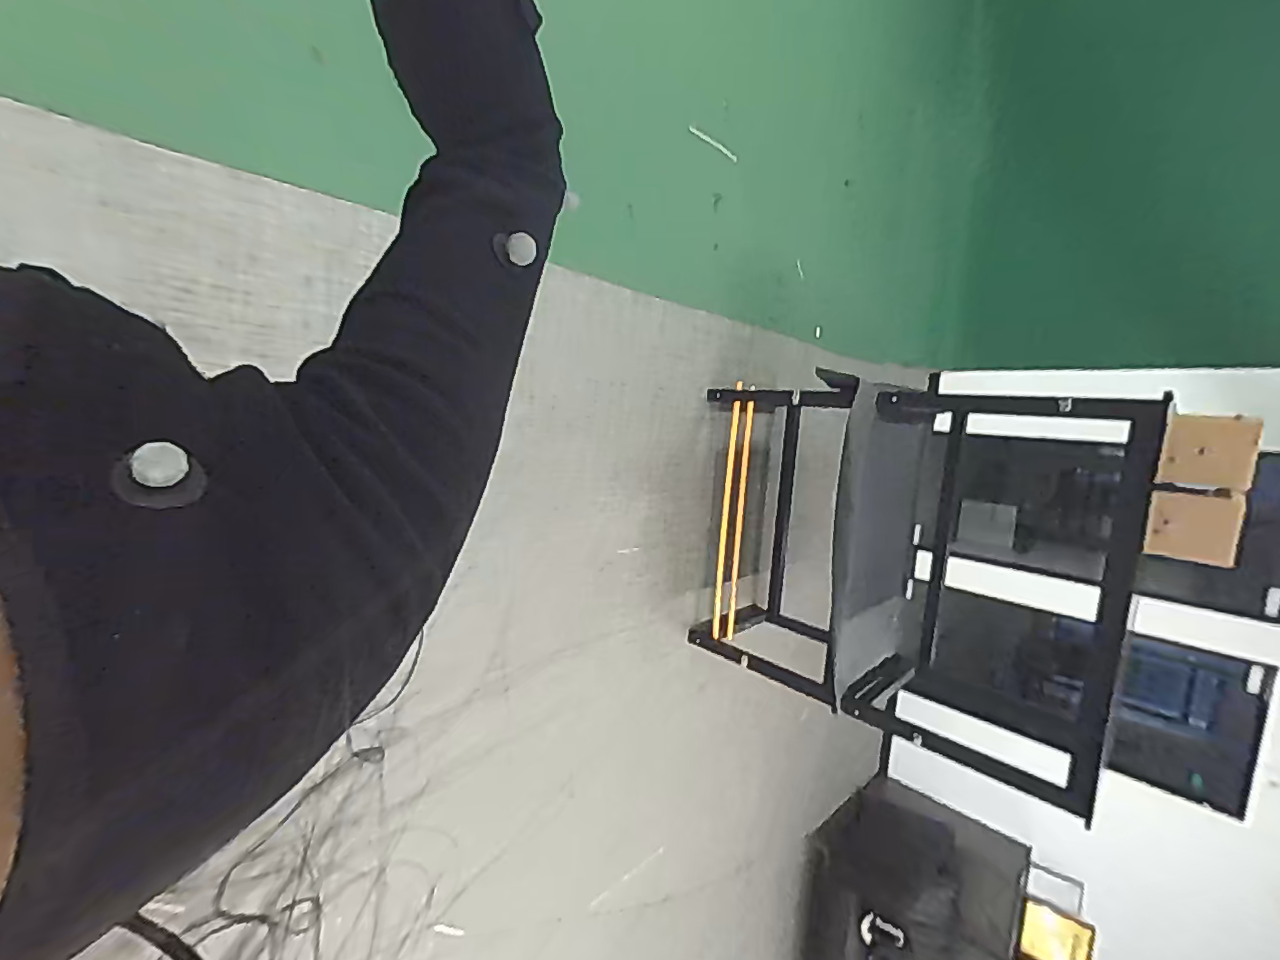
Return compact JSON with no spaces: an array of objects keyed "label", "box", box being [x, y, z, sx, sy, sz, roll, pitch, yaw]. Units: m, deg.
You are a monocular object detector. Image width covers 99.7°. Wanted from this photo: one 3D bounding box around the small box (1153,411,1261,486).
[{"label":"small box","box":[1.457,-0.087,1.396,0.179,0.176,0.168,-13,109,-43]}]
